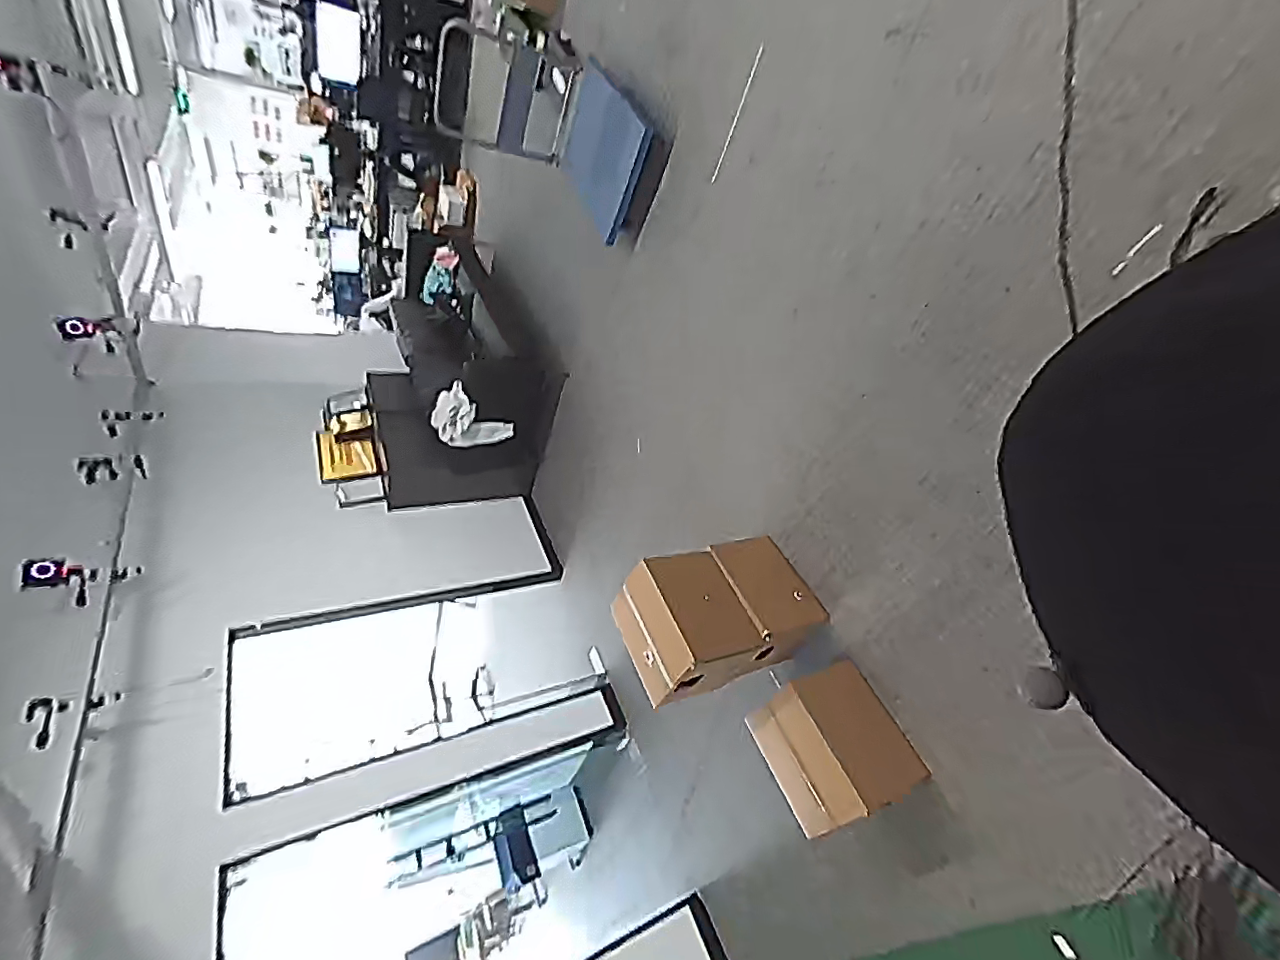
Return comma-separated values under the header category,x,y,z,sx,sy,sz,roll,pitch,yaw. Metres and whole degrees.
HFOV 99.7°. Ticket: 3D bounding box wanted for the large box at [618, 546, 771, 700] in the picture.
category,x,y,z,sx,sy,sz,roll,pitch,yaw
large box,0.180,0.491,1.917,0.408,0.320,0.320,60,137,35
